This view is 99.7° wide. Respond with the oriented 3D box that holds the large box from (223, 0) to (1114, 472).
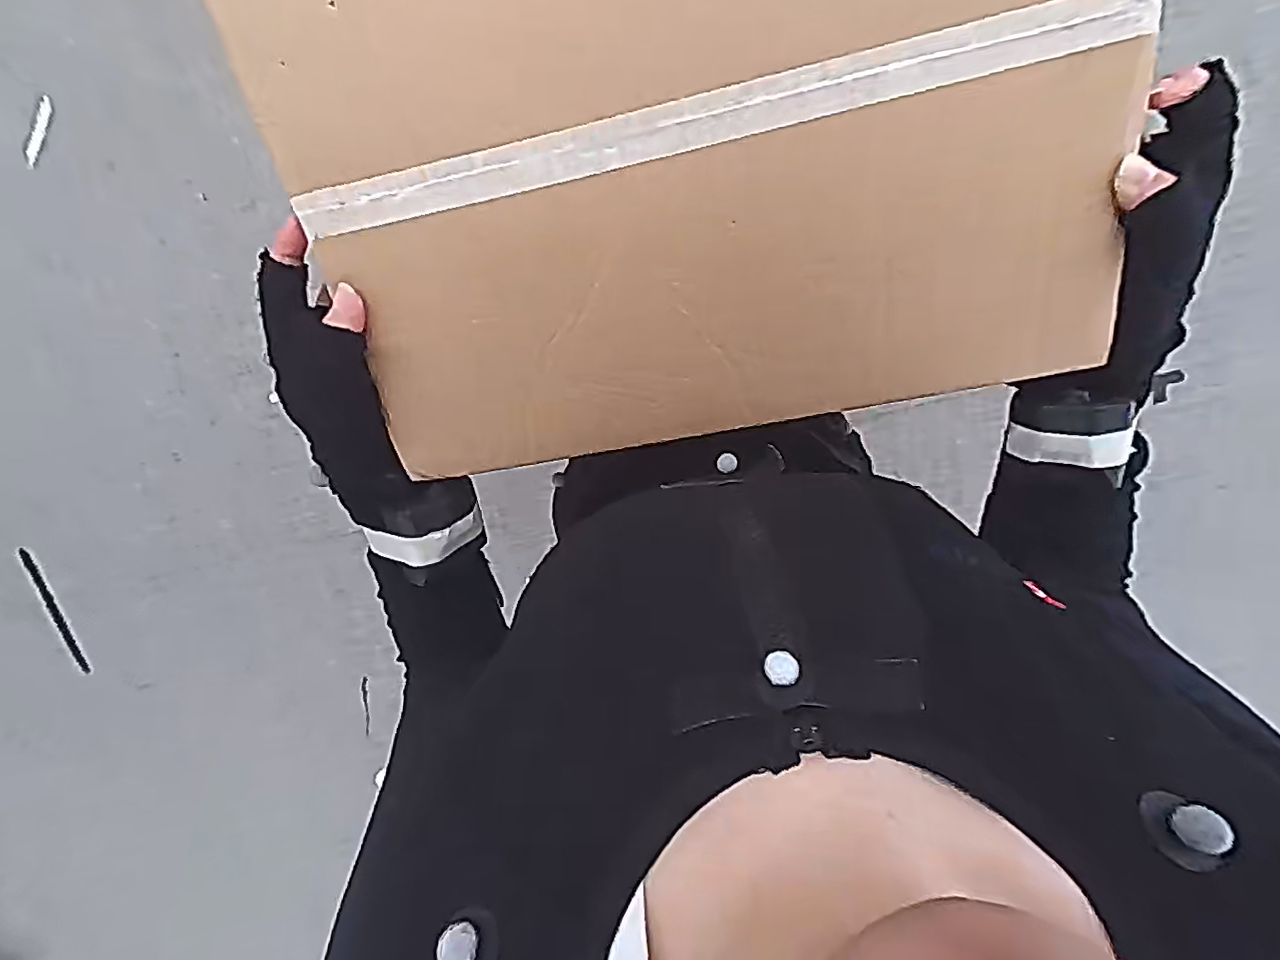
[{"bbox_3d":[0.025,-0.238,0.401,0.408,0.320,0.320,-10,114,7],"label":"large box"}]
